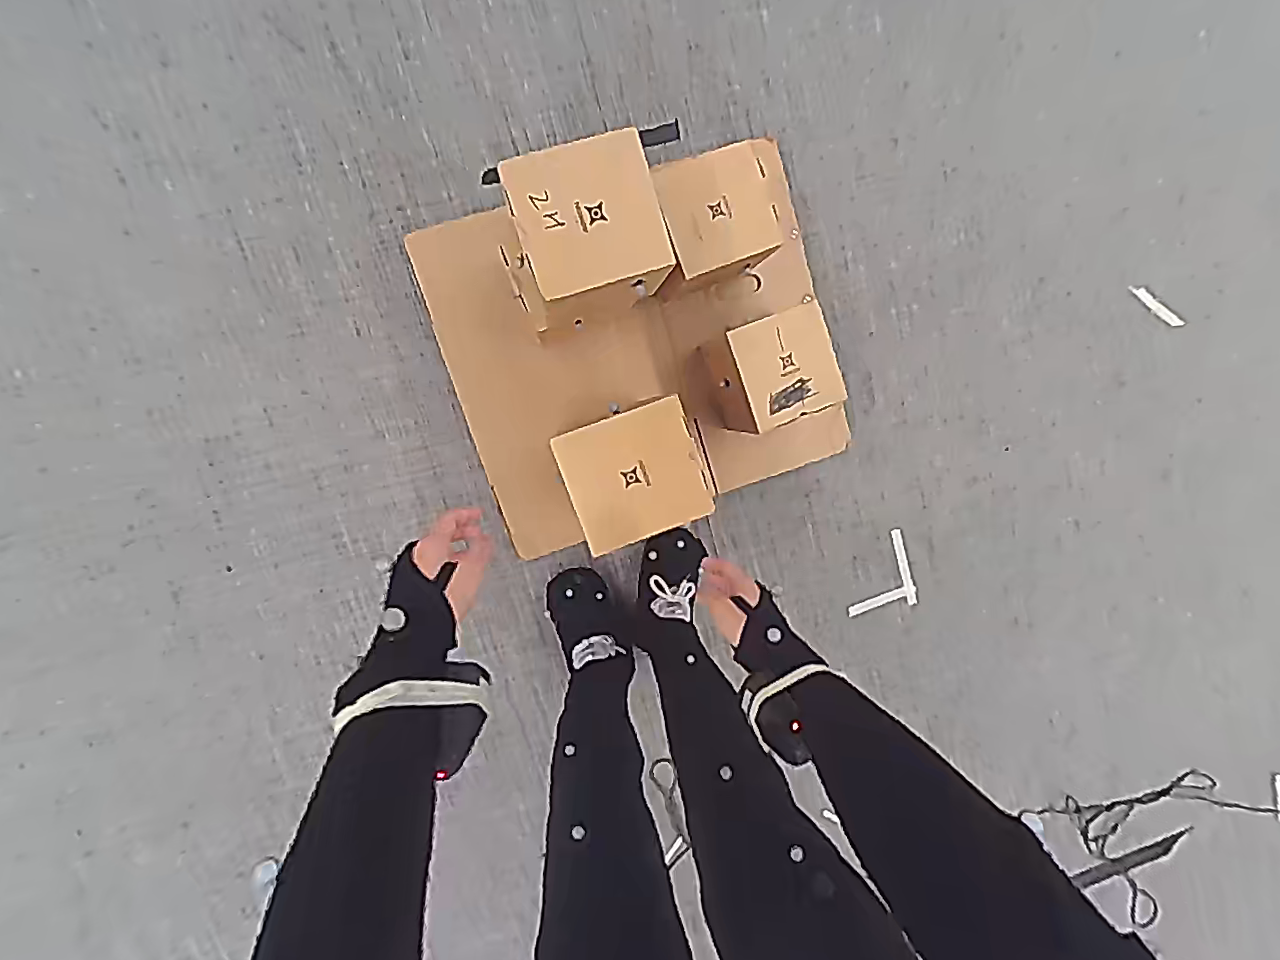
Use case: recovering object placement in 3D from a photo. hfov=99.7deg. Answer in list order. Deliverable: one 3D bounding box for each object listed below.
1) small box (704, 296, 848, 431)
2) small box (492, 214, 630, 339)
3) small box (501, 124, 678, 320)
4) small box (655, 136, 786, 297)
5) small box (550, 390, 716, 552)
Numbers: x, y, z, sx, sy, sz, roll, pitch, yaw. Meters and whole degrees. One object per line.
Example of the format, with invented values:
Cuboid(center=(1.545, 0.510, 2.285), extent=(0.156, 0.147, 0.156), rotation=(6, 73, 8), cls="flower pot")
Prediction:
Cuboid(center=(0.229, -0.198, 0.949), extent=(0.168, 0.176, 0.179), rotation=(-22, 100, -5), cls="small box")
Cuboid(center=(-0.116, -0.340, 0.877), extent=(0.179, 0.176, 0.168), rotation=(-22, 100, -4), cls="small box")
Cuboid(center=(-0.069, -0.327, 0.717), extent=(0.179, 0.176, 0.168), rotation=(-19, 99, -6), cls="small box")
Cuboid(center=(0.111, -0.427, 0.904), extent=(0.179, 0.176, 0.168), rotation=(-23, 99, -5), cls="small box")
Cuboid(center=(-0.015, -0.019, 0.767), extent=(0.179, 0.176, 0.168), rotation=(-21, 100, -5), cls="small box")
